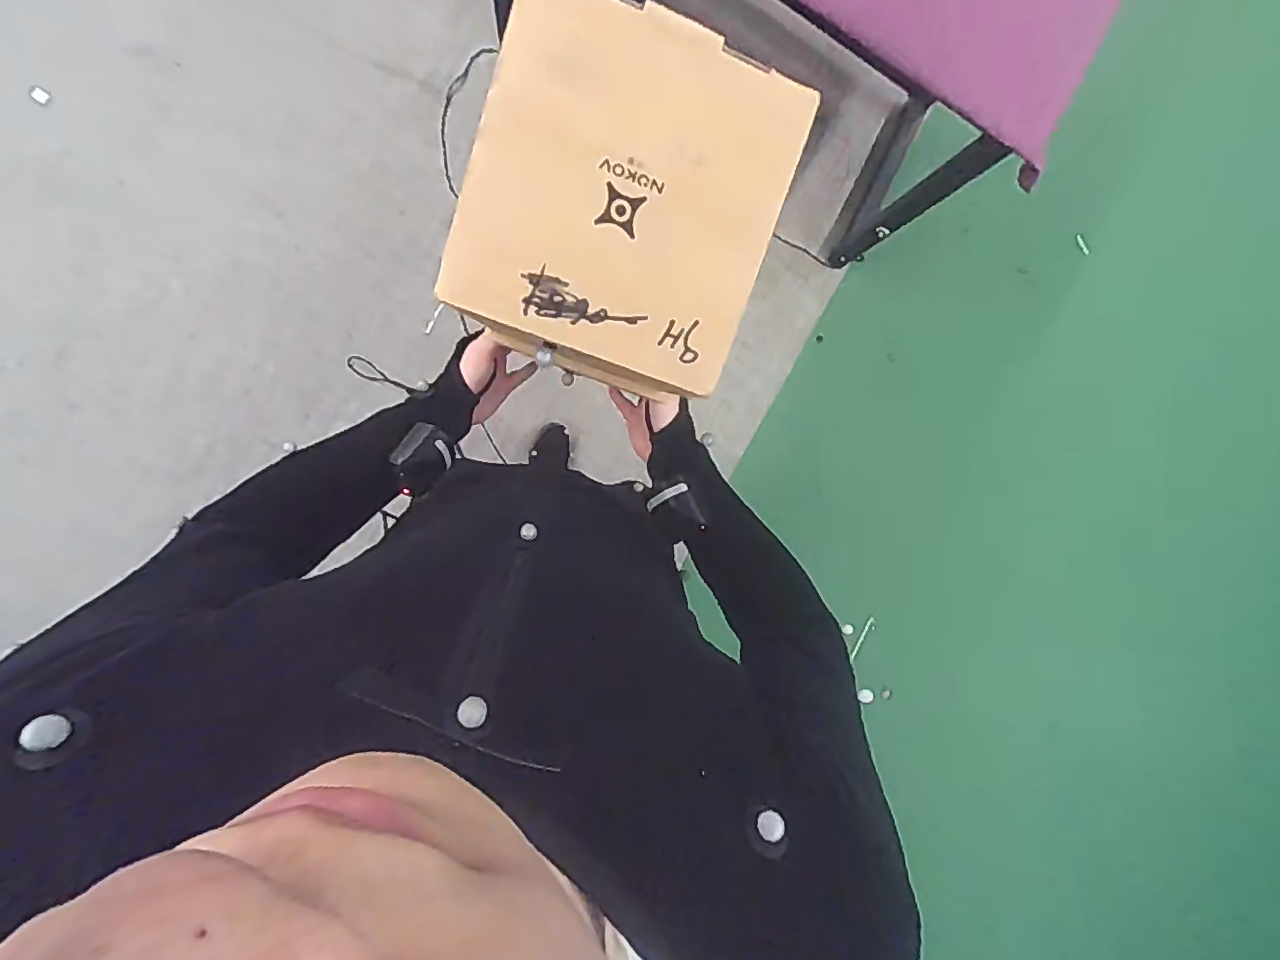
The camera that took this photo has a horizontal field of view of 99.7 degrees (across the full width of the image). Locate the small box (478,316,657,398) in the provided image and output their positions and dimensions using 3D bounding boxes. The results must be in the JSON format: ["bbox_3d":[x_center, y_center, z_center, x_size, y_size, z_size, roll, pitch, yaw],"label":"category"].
[{"bbox_3d":[-0.041,-0.193,0.535,0.168,0.176,0.179,19,98,-10],"label":"small box"}]

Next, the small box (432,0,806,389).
[{"bbox_3d":[-0.019,-0.172,0.374,0.168,0.176,0.179,18,98,-8],"label":"small box"}]
